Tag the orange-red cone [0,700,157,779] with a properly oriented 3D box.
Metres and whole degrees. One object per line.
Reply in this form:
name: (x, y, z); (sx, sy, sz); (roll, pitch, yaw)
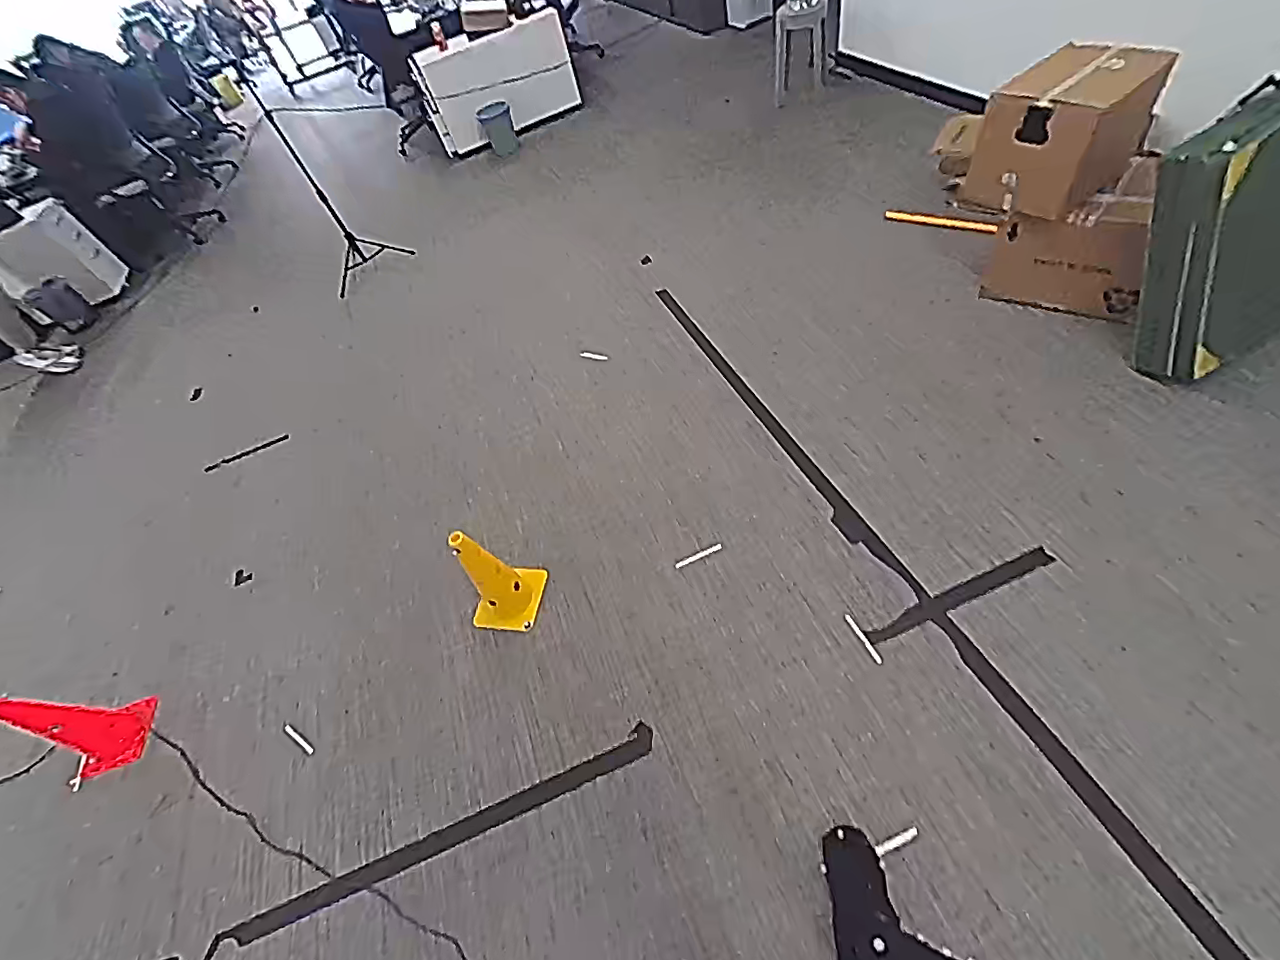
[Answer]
orange-red cone: (-1.656, 0.704, 1.554); (0.199, 0.360, 0.198); (-18, 51, 0)
